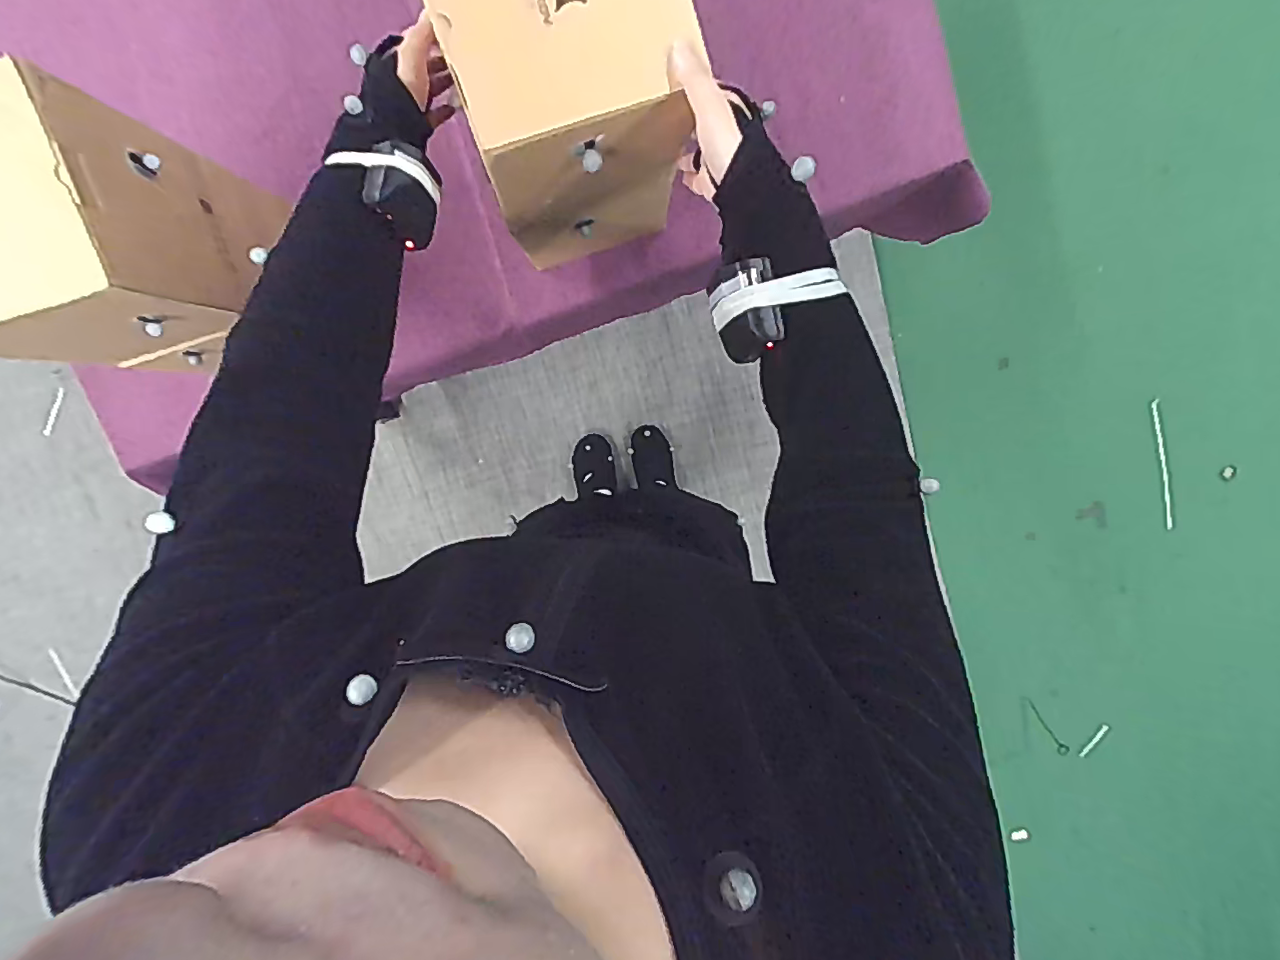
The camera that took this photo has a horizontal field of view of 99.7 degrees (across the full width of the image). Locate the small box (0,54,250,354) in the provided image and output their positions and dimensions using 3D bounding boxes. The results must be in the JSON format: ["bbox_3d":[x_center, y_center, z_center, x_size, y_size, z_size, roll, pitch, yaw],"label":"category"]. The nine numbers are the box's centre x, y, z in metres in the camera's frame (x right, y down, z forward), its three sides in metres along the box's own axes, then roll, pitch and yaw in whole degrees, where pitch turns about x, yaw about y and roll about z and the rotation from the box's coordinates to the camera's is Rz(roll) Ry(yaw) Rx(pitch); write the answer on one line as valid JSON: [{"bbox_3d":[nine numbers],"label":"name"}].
[{"bbox_3d":[-0.490,-0.215,0.474,0.179,0.176,0.168,-15,99,3],"label":"small box"}]

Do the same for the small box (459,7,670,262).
[{"bbox_3d":[-0.073,-0.368,0.615,0.179,0.176,0.168,-17,99,2],"label":"small box"}]

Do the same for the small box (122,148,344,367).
[{"bbox_3d":[-0.491,-0.242,0.635,0.168,0.176,0.179,-16,98,3],"label":"small box"}]
